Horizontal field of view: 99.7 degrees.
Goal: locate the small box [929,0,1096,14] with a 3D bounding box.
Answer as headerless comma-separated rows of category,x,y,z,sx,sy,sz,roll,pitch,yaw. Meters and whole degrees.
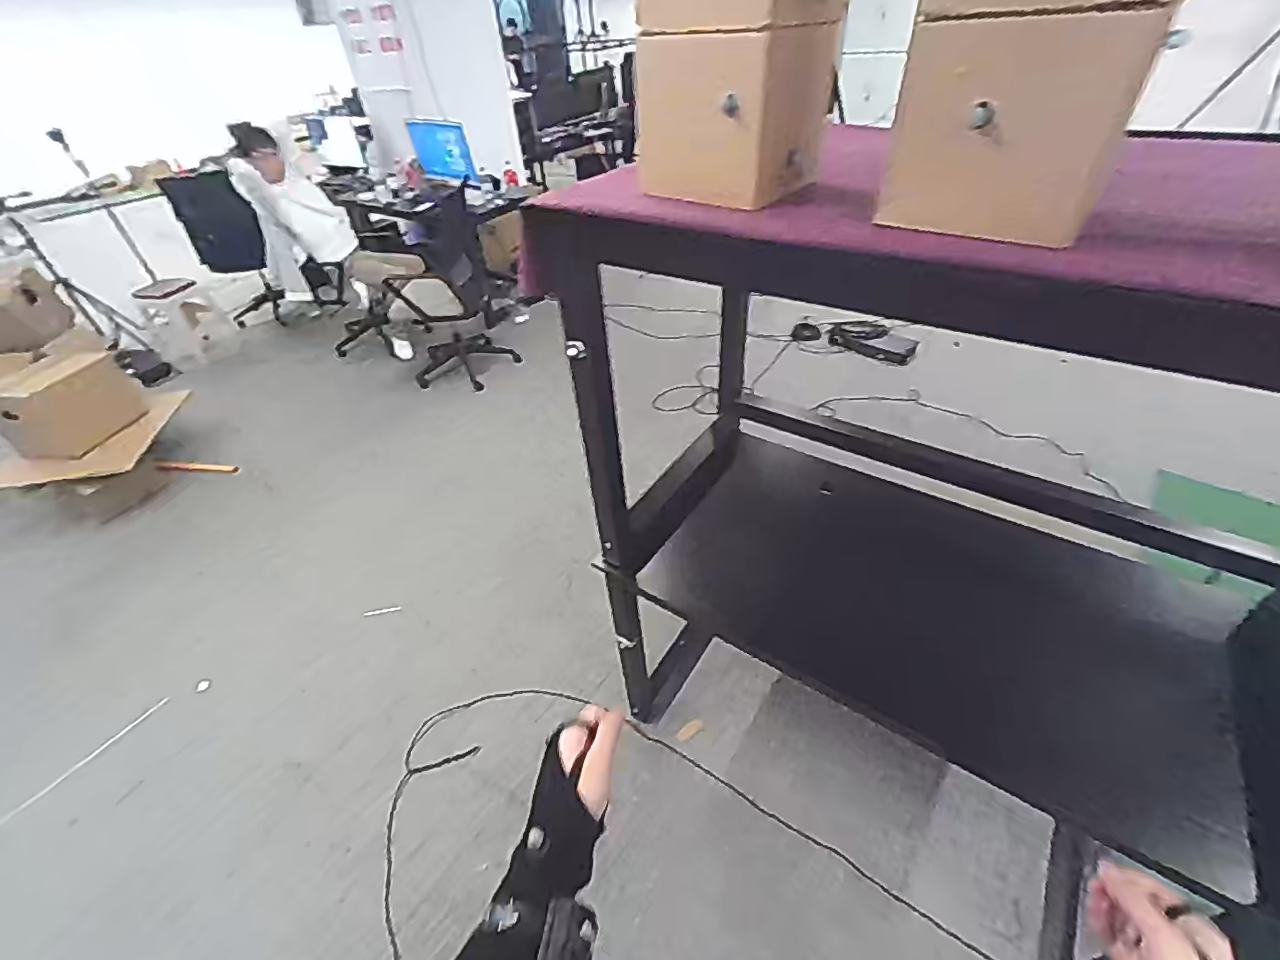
small box,0.349,-0.466,0.407,0.179,0.176,0.168,27,50,32

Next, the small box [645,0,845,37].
small box,0.113,-0.578,0.567,0.179,0.176,0.168,27,49,31

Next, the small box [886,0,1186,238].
small box,0.358,-0.341,0.512,0.179,0.176,0.168,25,48,32
